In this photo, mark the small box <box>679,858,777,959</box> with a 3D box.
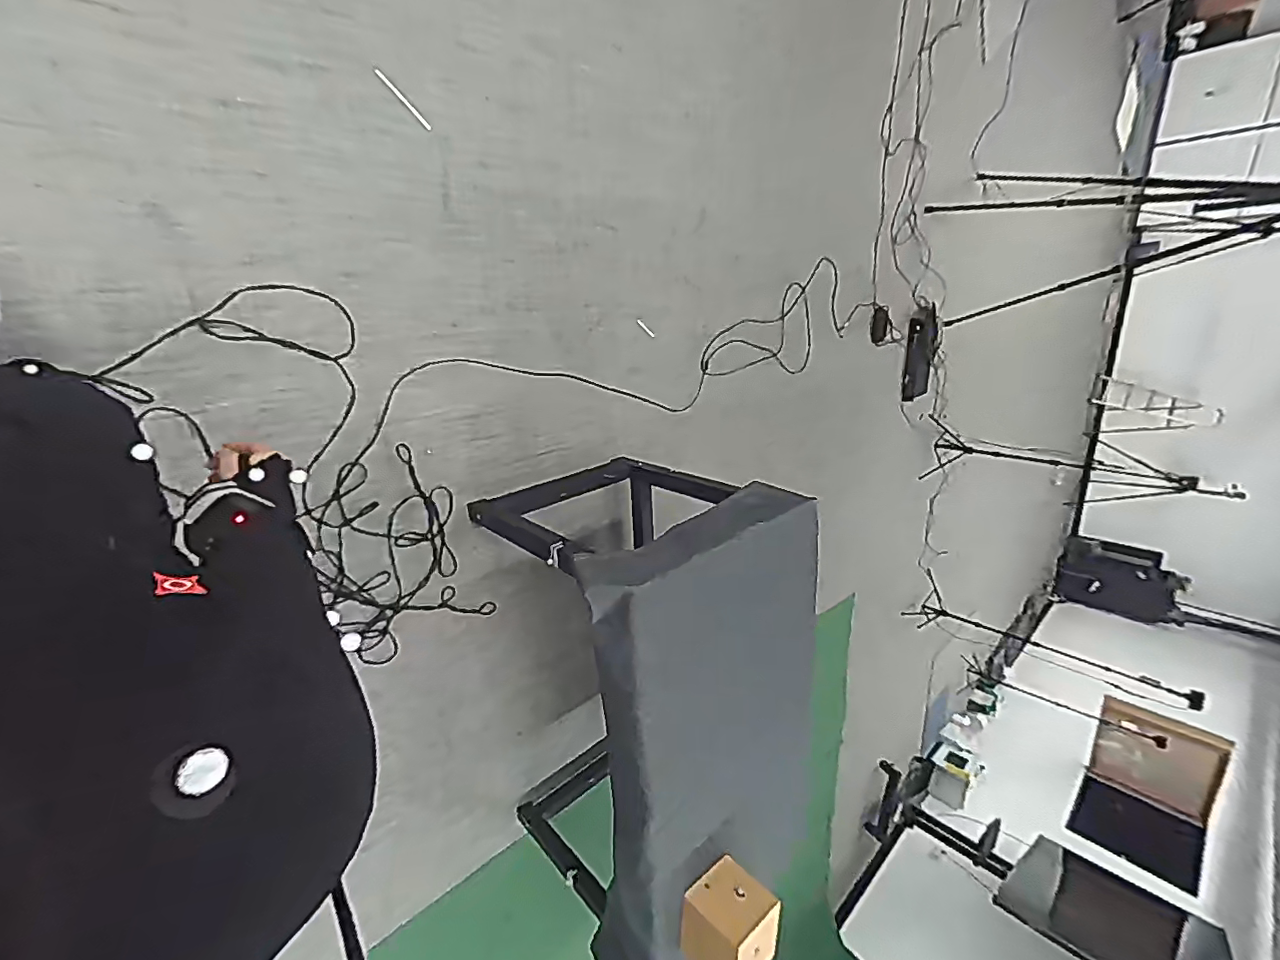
[{"bbox_3d":[0.210,1.069,1.311,0.168,0.176,0.179,-11,109,-42],"label":"small box"}]
